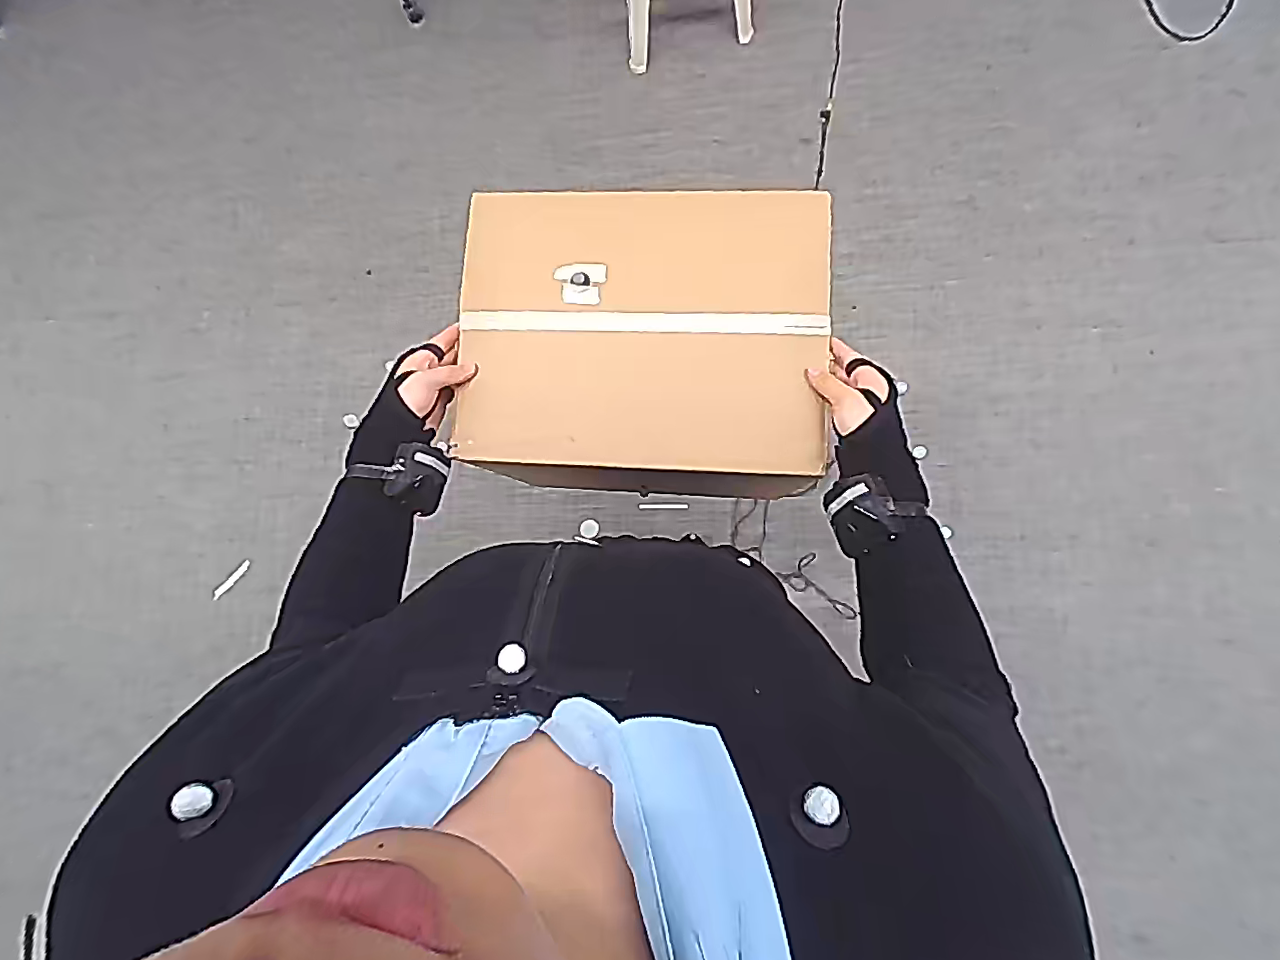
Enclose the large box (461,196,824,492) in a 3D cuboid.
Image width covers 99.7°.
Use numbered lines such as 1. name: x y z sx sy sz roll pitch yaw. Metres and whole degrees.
1. large box: 0.017 -0.150 0.749 0.408 0.320 0.320 2 82 6
